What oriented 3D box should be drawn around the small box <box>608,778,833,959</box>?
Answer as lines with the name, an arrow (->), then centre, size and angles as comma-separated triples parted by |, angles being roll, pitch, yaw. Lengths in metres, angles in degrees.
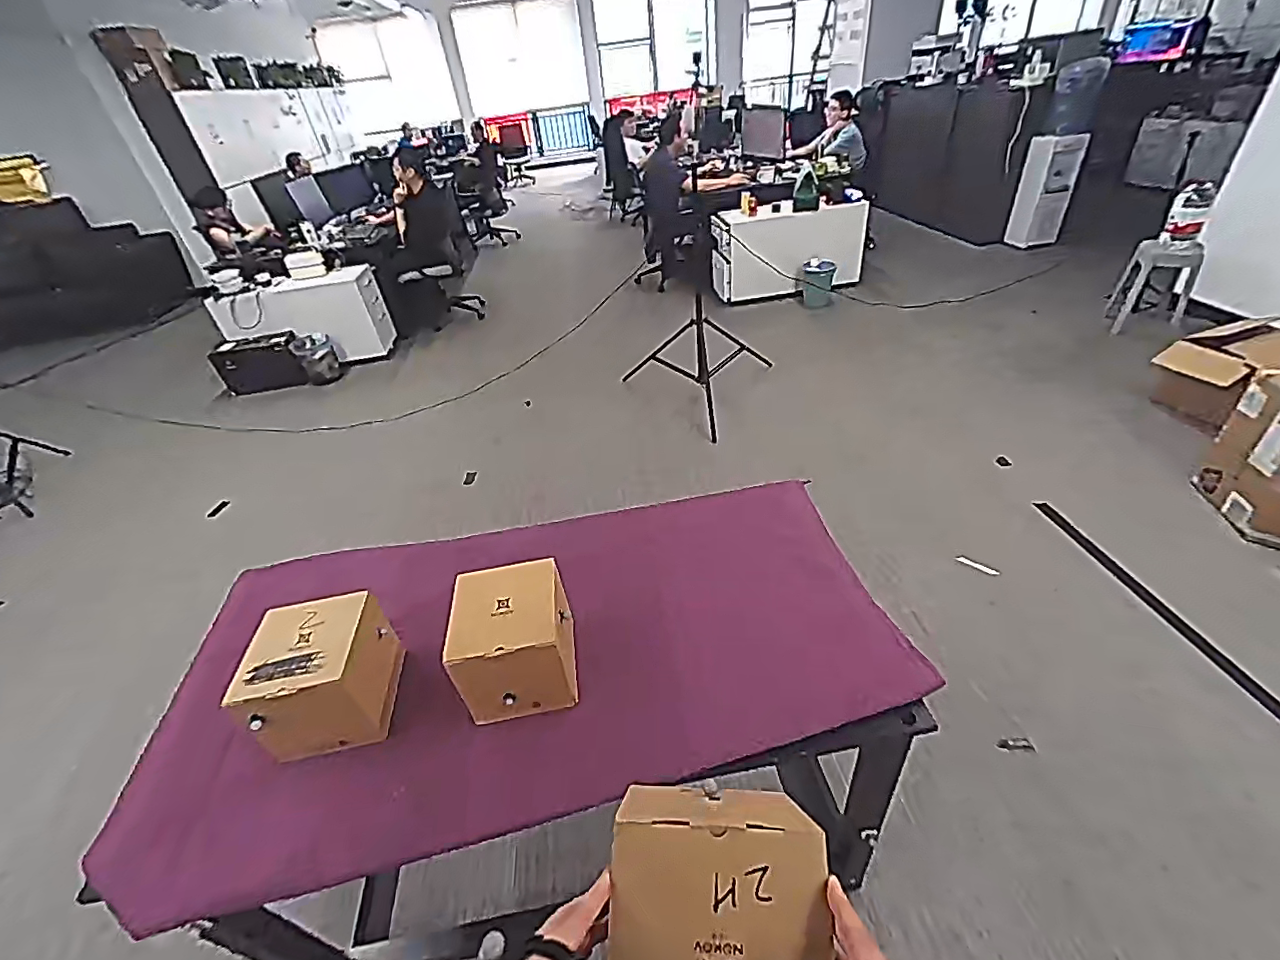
small box -> 0.064, 0.372, 0.467 | 0.168, 0.176, 0.179 | 0, 68, 4

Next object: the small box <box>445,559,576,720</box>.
small box -> -0.201, 0.259, 0.886 | 0.168, 0.176, 0.179 | -10, 37, -3
